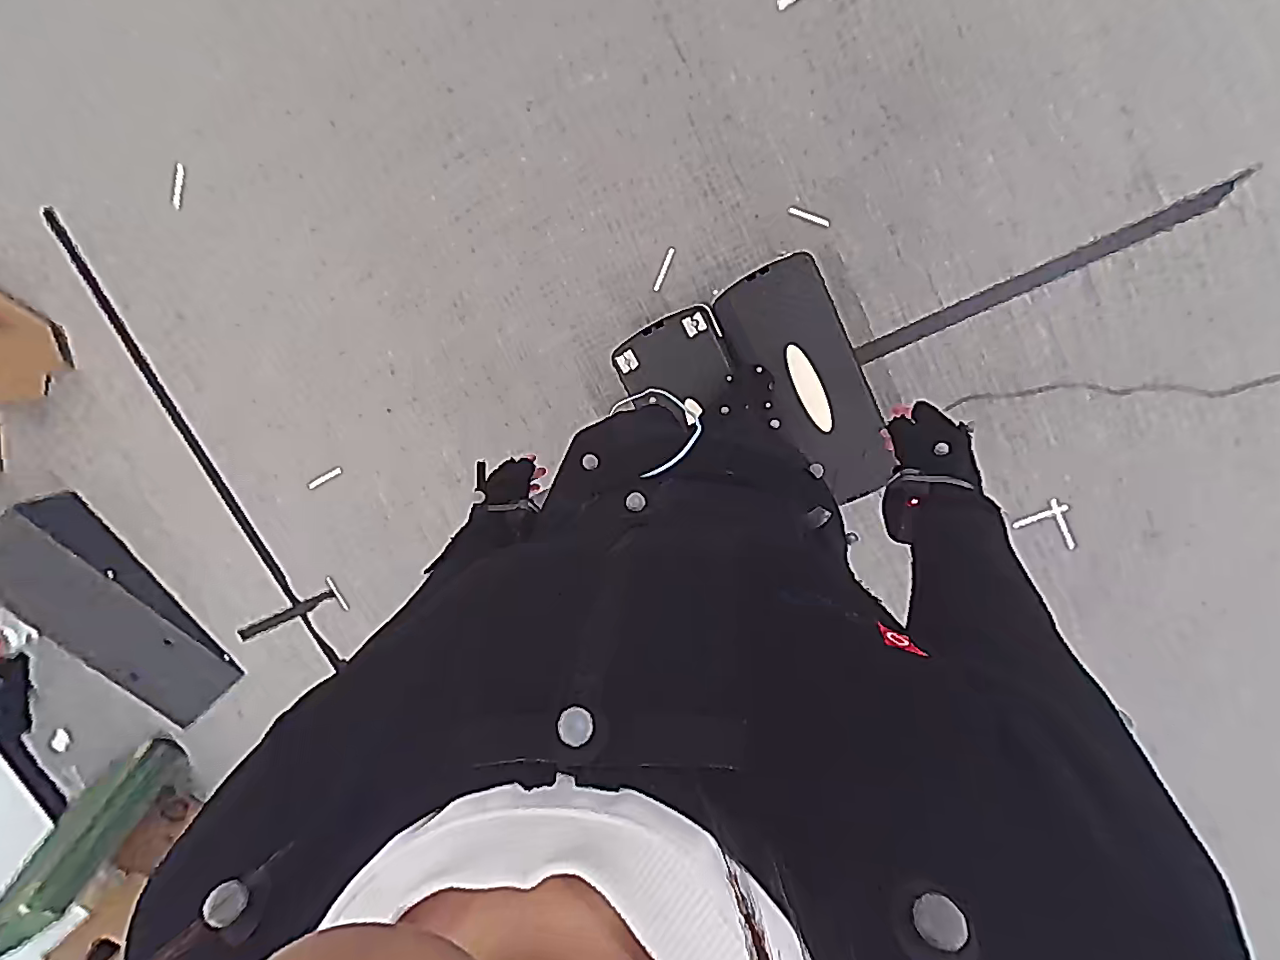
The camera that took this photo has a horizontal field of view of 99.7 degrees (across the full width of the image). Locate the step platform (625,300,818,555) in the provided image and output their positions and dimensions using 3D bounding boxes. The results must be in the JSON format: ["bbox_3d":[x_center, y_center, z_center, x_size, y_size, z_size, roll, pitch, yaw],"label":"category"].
[{"bbox_3d":[0.228,-0.135,1.491,0.286,0.204,0.684,-26,98,16],"label":"step platform"}]
